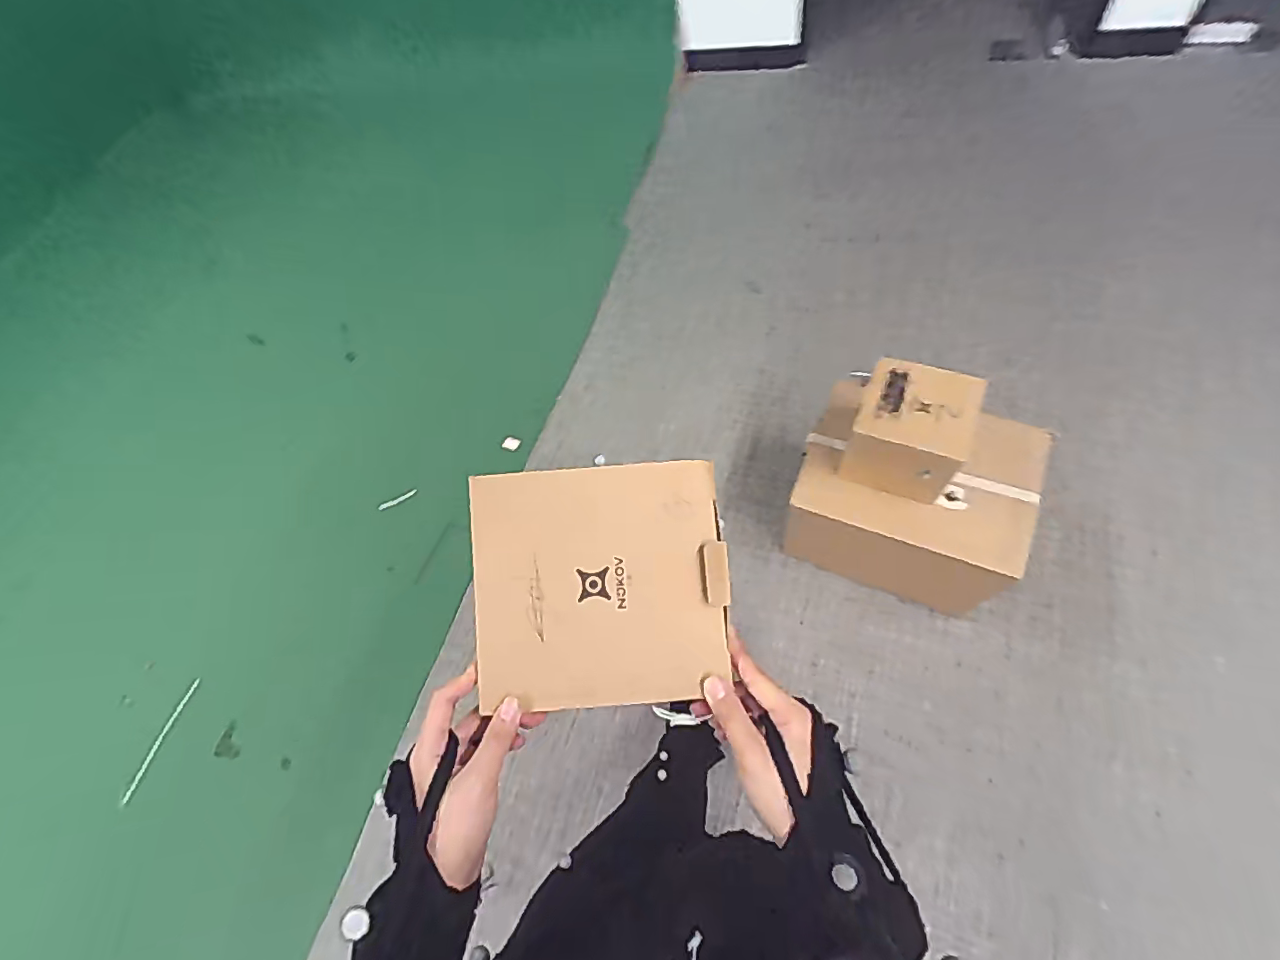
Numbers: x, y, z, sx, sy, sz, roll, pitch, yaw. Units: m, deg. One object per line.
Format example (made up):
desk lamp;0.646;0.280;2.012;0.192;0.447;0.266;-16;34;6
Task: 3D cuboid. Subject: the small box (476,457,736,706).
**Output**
small box;-0.025;0.078;0.457;0.179;0.176;0.168;-5;82;1

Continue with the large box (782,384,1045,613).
large box;0.549;0.044;1.158;0.408;0.320;0.320;18;70;19
